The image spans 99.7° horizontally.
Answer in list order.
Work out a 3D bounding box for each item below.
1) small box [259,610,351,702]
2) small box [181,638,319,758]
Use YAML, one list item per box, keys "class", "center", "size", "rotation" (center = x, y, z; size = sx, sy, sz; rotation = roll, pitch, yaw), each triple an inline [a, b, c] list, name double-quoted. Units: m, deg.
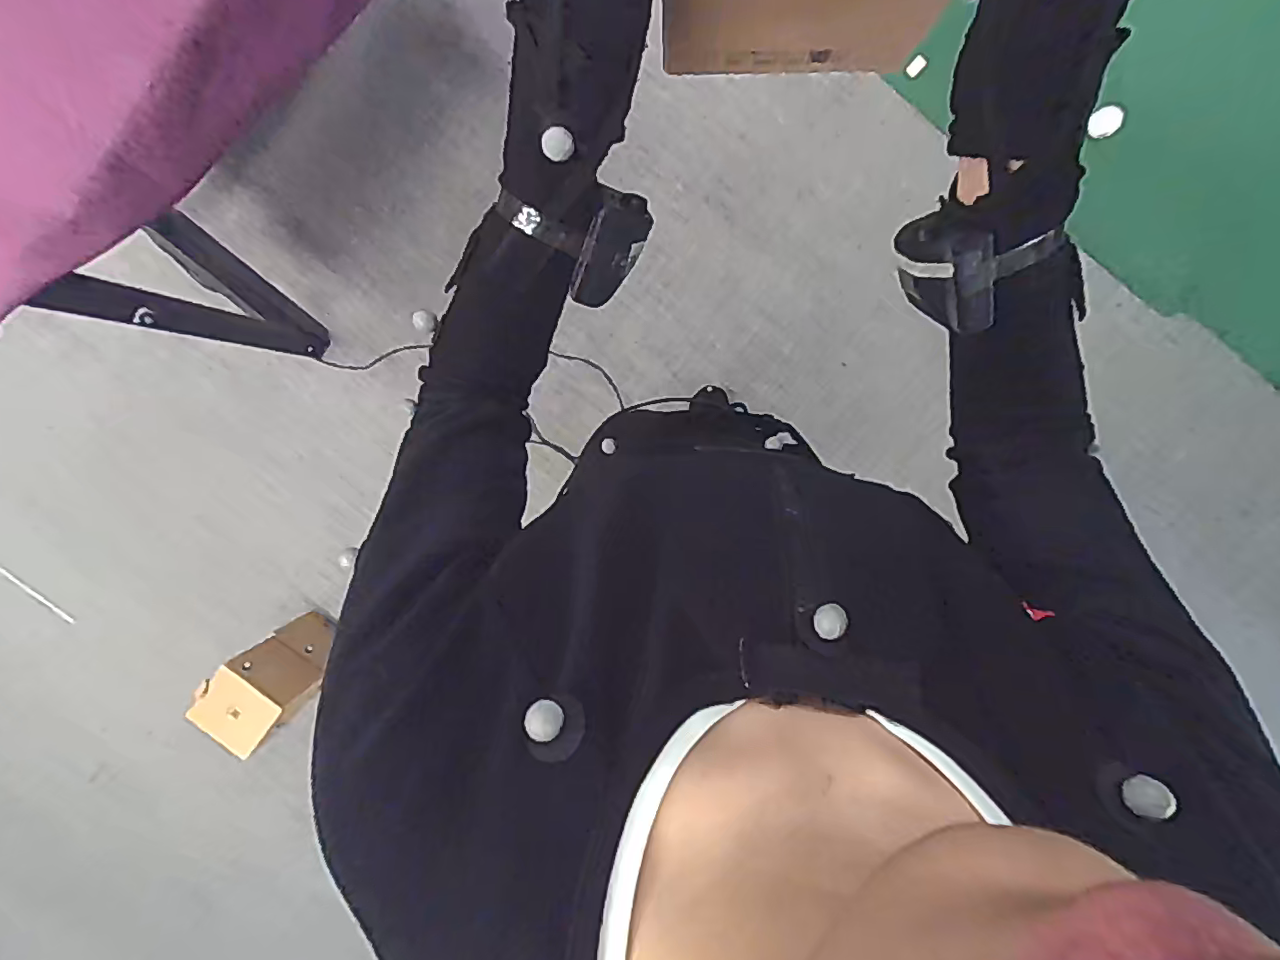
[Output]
- class: "small box"
  center: [-0.932, 0.490, 1.468]
  size: [0.168, 0.176, 0.179]
  rotation: [38, 96, -2]
- class: "small box"
  center: [-0.929, 0.515, 1.306]
  size: [0.179, 0.176, 0.168]
  rotation: [38, 95, -2]
